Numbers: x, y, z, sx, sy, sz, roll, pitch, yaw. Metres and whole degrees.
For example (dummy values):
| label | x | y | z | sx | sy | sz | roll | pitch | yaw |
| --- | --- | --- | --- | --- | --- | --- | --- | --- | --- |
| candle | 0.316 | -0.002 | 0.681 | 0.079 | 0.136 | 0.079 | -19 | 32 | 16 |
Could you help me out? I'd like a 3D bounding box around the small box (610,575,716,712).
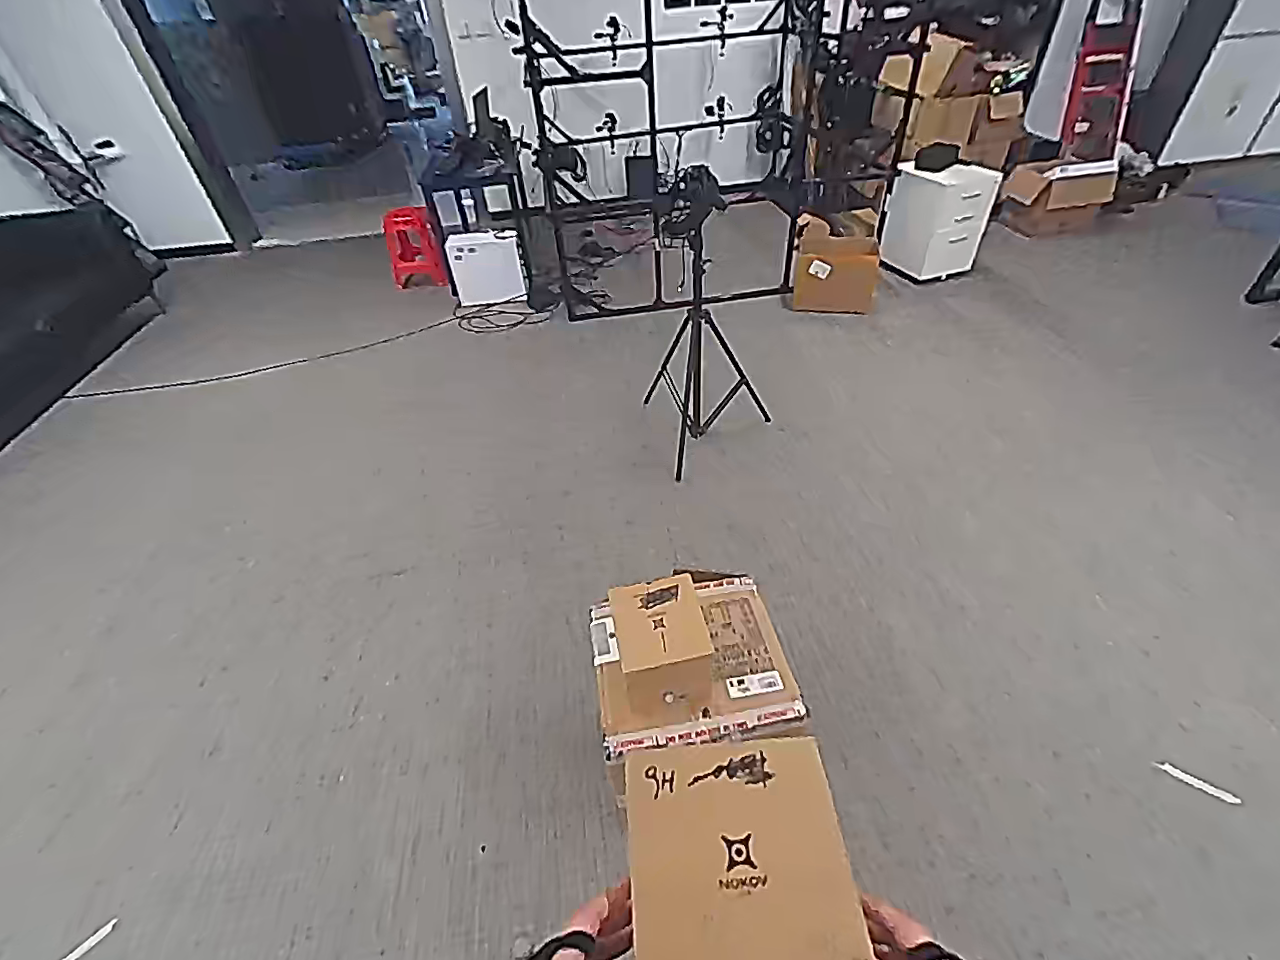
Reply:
| label | x | y | z | sx | sy | sz | roll | pitch | yaw |
| --- | --- | --- | --- | --- | --- | --- | --- | --- | --- |
| small box | 0.040 | 0.313 | 1.035 | 0.168 | 0.176 | 0.179 | -11 | 46 | -5 |
